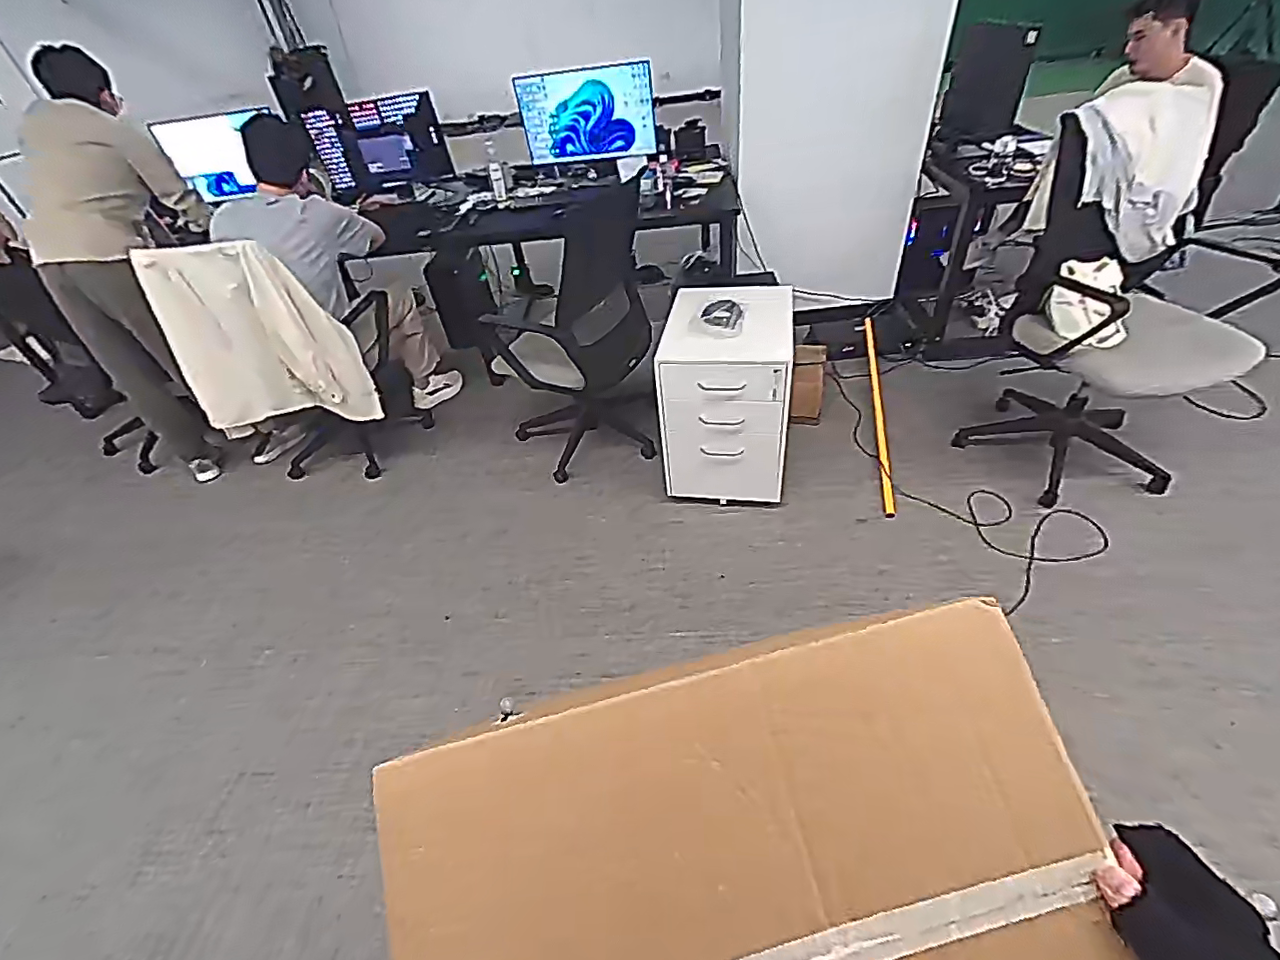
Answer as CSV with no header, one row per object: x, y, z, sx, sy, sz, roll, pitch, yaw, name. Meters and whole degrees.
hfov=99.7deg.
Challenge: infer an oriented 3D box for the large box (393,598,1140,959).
0.077,0.316,0.448,0.408,0.320,0.320,-15,73,-3,large box
